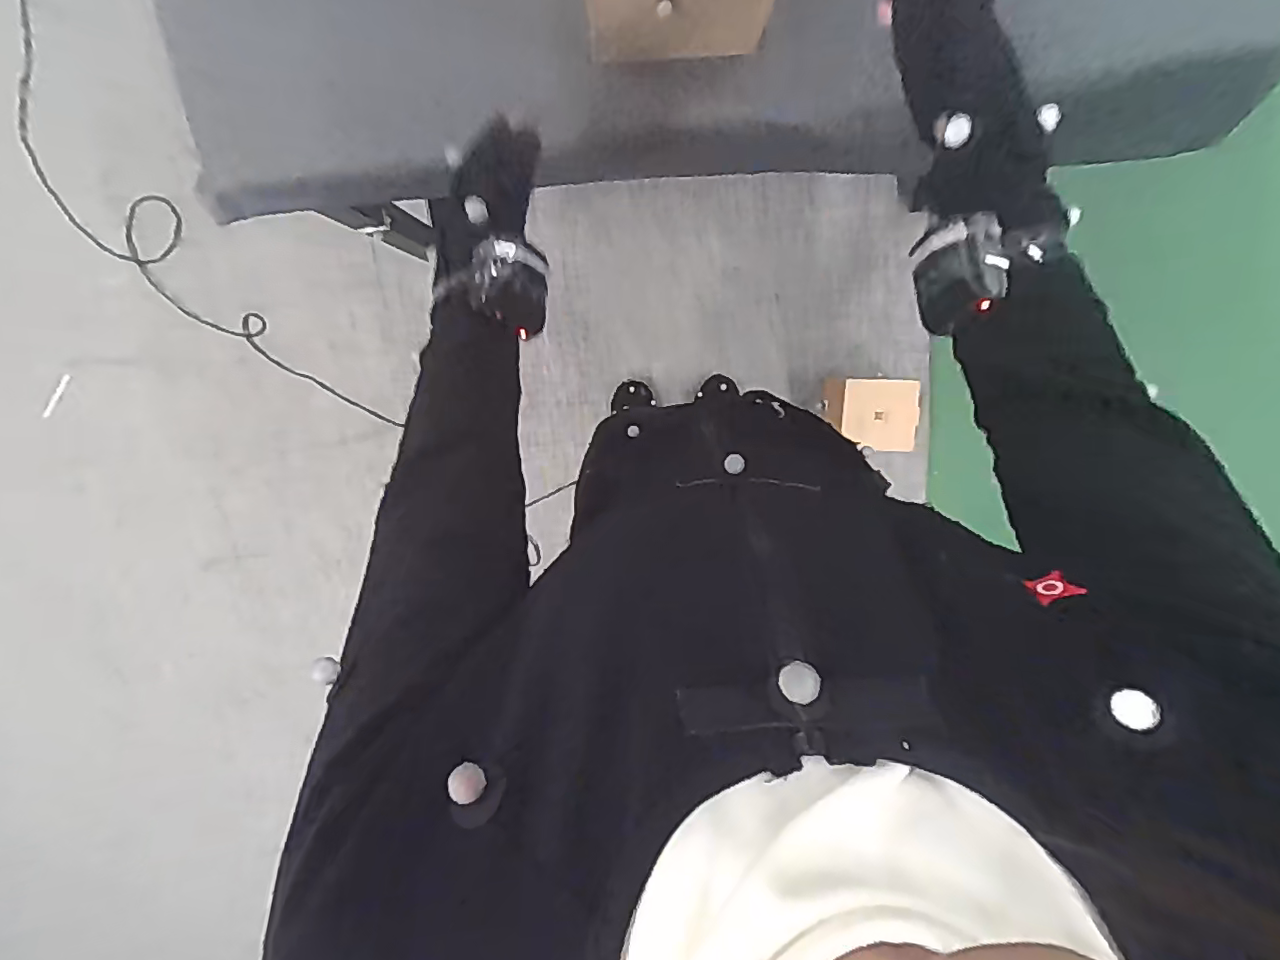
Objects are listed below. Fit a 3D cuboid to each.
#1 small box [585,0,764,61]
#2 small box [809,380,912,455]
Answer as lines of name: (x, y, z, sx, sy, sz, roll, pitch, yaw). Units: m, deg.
small box: (0.031, -0.519, 0.493, 0.179, 0.176, 0.168, -3, 102, 0)
small box: (0.531, -0.158, 1.325, 0.179, 0.176, 0.168, 1, 101, 1)
